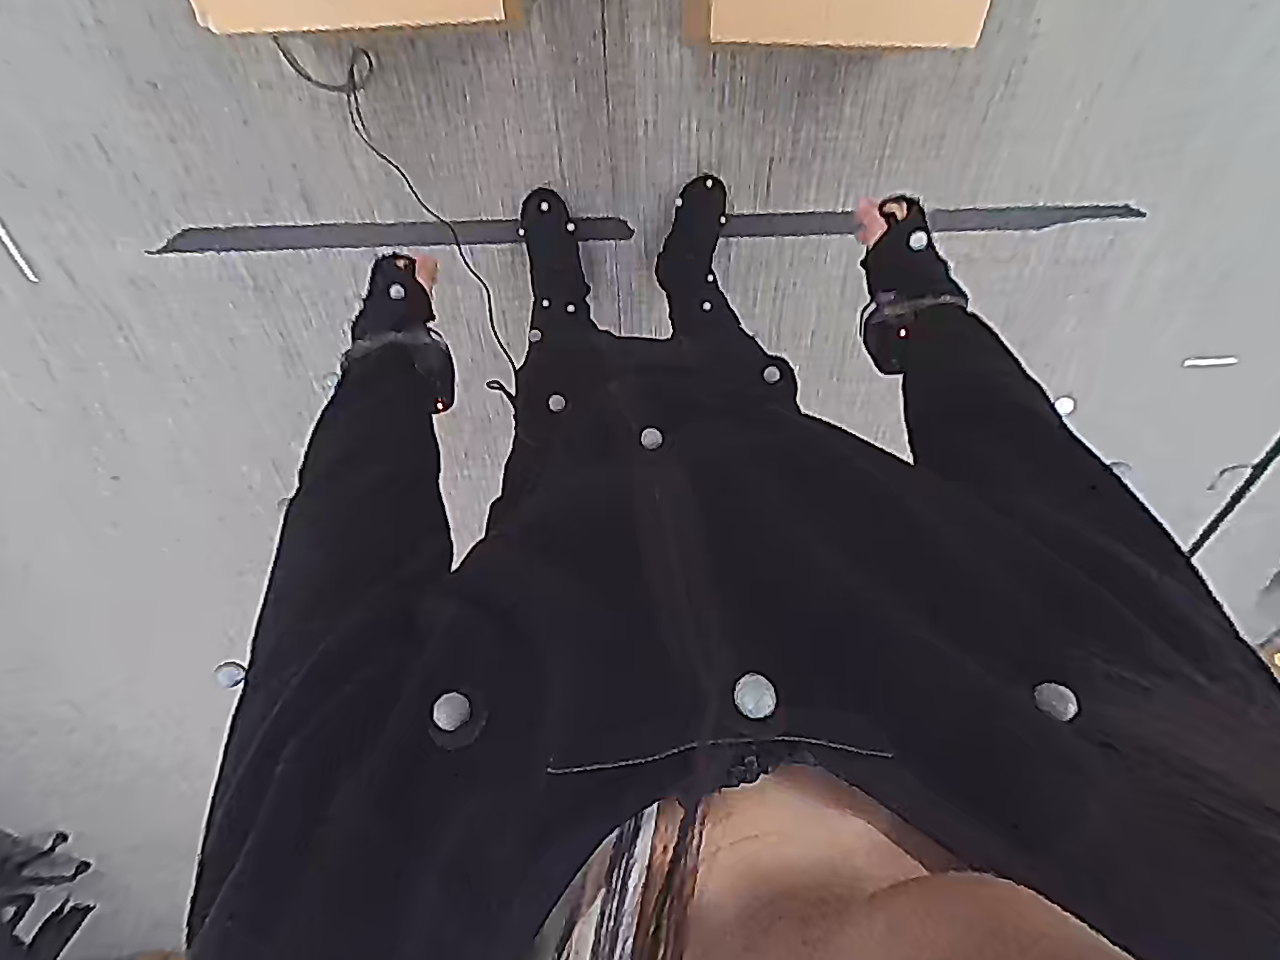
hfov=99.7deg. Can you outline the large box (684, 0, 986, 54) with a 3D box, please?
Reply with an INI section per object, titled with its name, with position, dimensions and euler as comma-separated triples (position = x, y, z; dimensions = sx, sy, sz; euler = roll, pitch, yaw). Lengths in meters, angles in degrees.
[large box]
position = 0.291, -0.856, 0.825
dimensions = 0.408, 0.320, 0.320
euler = -2, 127, -5
